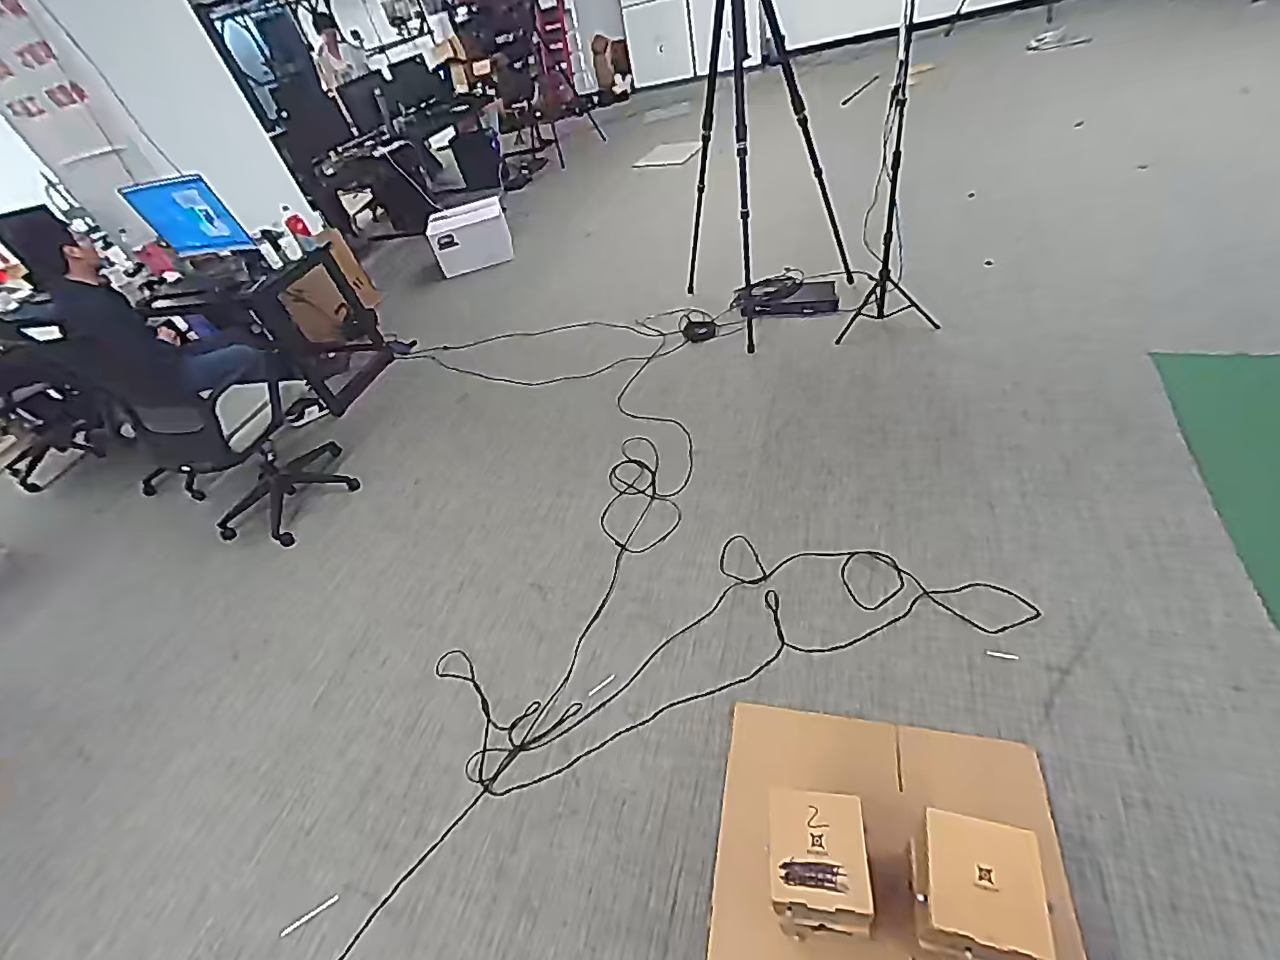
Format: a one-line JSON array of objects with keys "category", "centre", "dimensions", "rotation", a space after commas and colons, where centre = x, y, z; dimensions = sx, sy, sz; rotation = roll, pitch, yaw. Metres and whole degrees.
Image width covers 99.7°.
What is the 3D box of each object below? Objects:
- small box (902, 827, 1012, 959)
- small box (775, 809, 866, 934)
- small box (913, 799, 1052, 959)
[{"category": "small box", "centre": [0.607, 0.804, 1.041], "dimensions": [0.168, 0.176, 0.179], "rotation": [0, 47, 20]}, {"category": "small box", "centre": [0.366, 0.805, 1.111], "dimensions": [0.168, 0.176, 0.179], "rotation": [-2, 46, 16]}, {"category": "small box", "centre": [0.574, 0.687, 0.932], "dimensions": [0.168, 0.176, 0.179], "rotation": [3, 48, 21]}]
